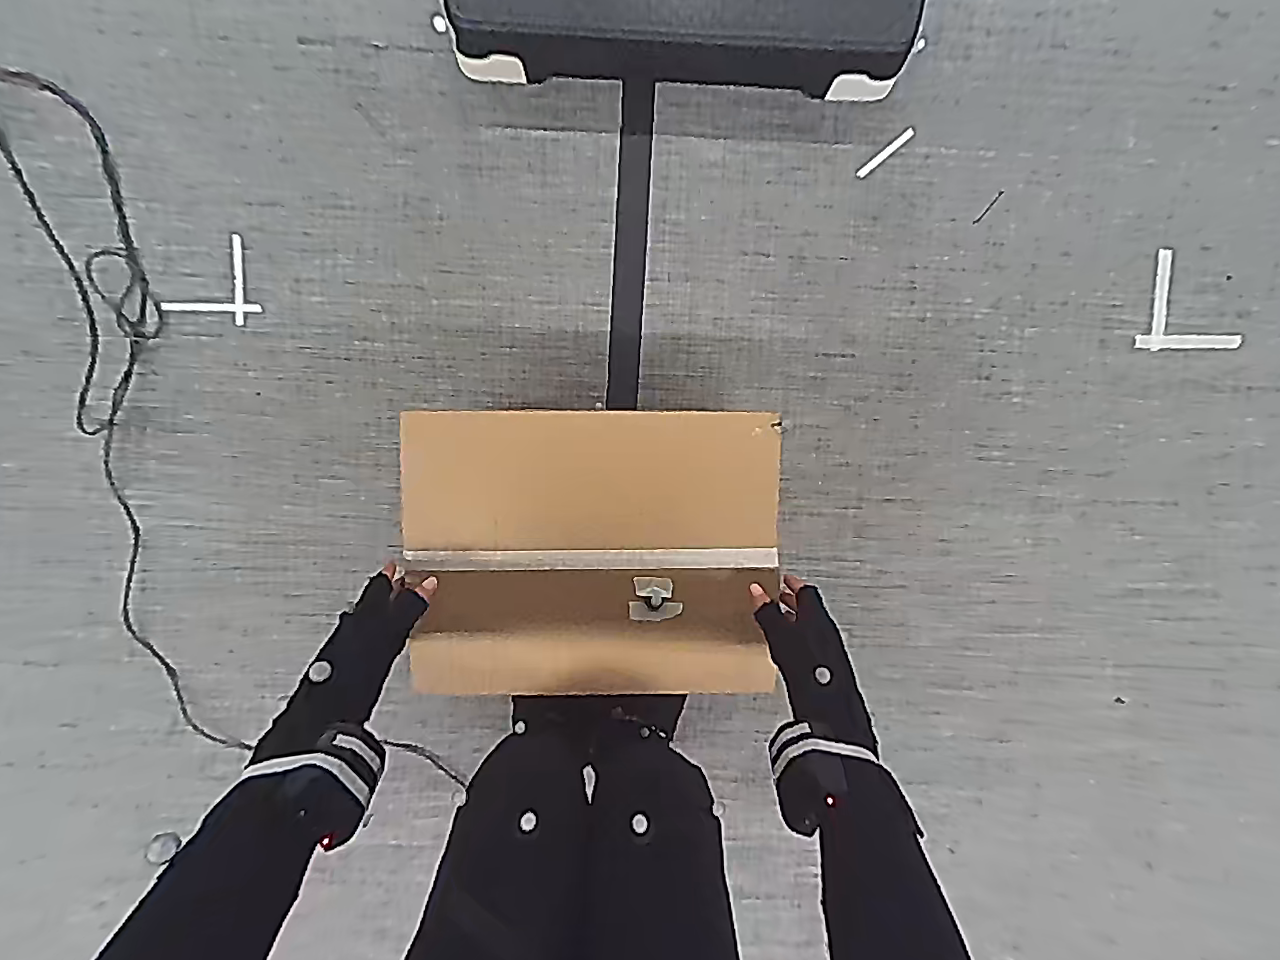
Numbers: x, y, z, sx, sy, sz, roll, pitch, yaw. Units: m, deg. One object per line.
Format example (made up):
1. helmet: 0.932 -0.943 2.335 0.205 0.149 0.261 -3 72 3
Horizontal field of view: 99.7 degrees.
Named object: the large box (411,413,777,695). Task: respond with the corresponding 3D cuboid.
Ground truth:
1. large box: -0.053 0.073 0.745 0.408 0.320 0.320 0 95 -2
